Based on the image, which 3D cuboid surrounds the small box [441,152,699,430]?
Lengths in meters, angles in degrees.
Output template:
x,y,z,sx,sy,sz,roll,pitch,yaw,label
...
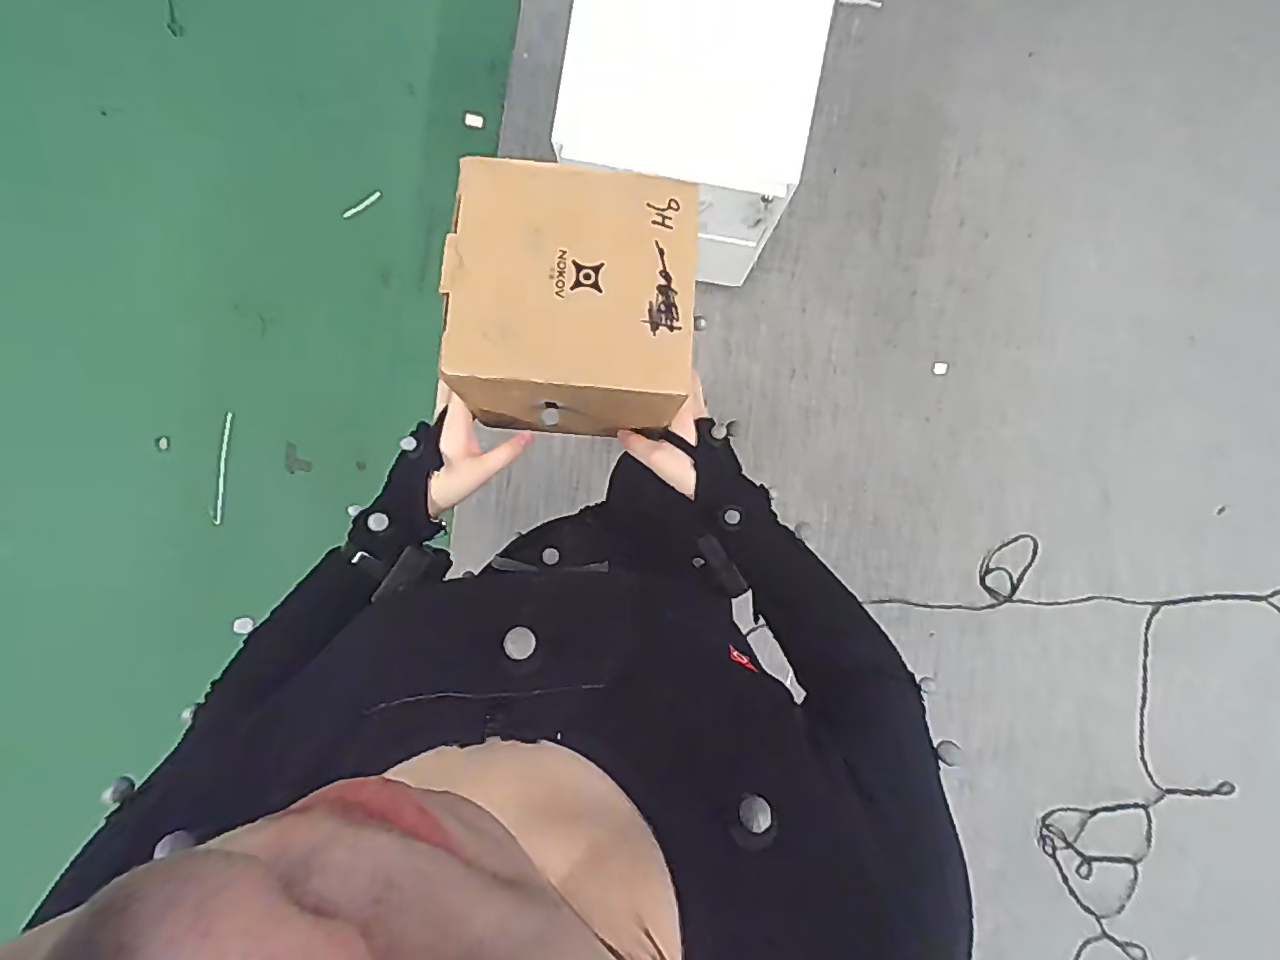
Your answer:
x,y,z,sx,sy,sz,roll,pitch,yaw,label
-0.053,-0.143,0.468,0.179,0.176,0.168,4,83,-5,small box
